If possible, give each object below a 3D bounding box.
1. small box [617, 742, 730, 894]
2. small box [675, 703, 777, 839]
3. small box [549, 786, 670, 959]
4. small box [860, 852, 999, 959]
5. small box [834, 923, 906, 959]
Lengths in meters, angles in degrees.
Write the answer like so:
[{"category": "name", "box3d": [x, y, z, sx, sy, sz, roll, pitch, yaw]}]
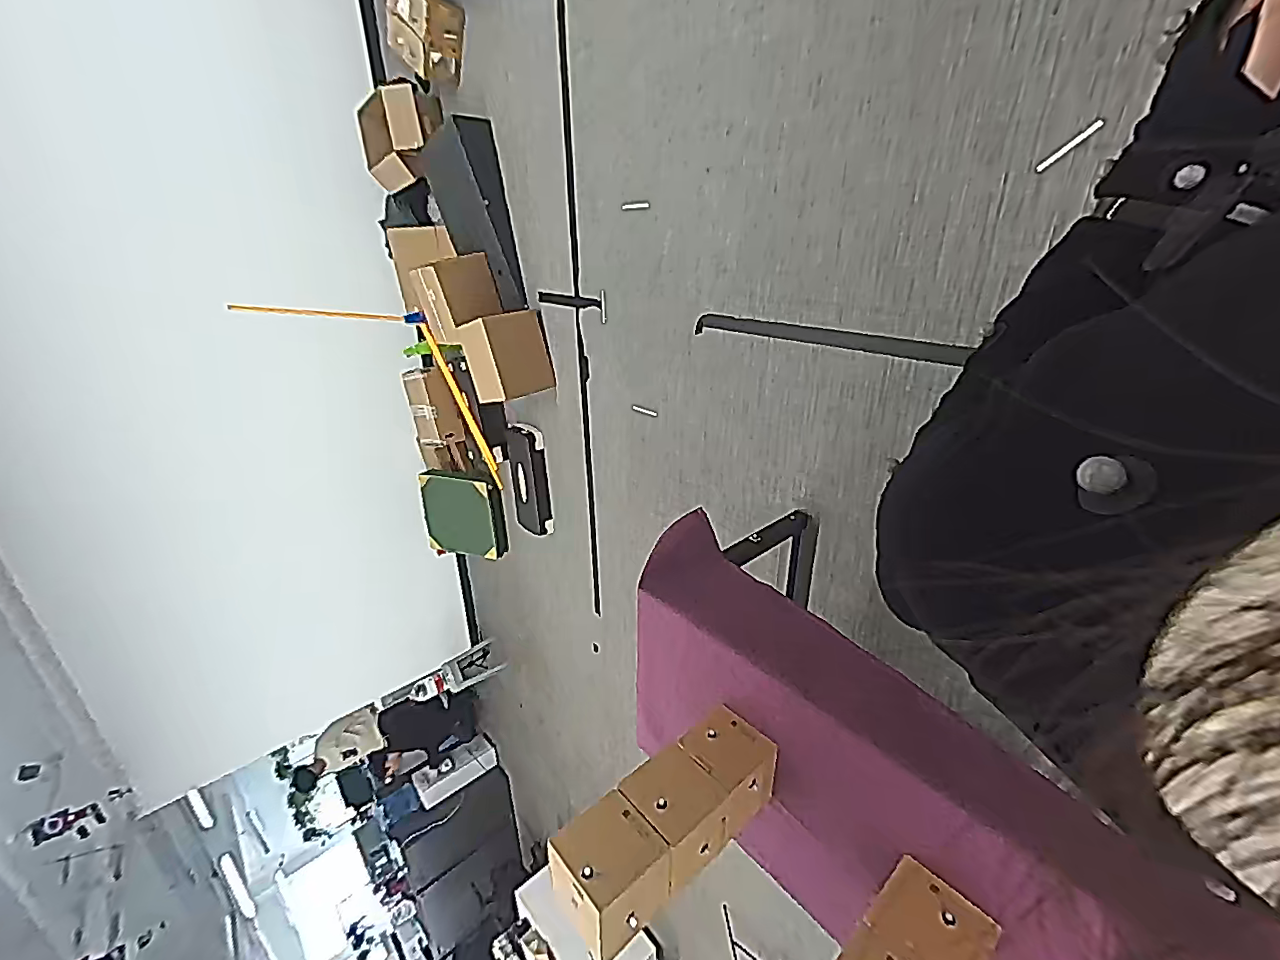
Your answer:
[{"category": "small box", "box3d": [0.072, 0.697, 1.137, 0.179, 0.176, 0.168, 24, 124, 44]}, {"category": "small box", "box3d": [0.194, 0.653, 1.237, 0.168, 0.176, 0.179, 25, 125, 43]}, {"category": "small box", "box3d": [-0.055, 0.747, 1.045, 0.168, 0.176, 0.179, 25, 125, 43]}, {"category": "small box", "box3d": [0.493, 0.813, 0.942, 0.168, 0.176, 0.179, 24, 123, 44]}, {"category": "small box", "box3d": [0.370, 0.860, 0.843, 0.168, 0.176, 0.179, 23, 124, 45]}]
